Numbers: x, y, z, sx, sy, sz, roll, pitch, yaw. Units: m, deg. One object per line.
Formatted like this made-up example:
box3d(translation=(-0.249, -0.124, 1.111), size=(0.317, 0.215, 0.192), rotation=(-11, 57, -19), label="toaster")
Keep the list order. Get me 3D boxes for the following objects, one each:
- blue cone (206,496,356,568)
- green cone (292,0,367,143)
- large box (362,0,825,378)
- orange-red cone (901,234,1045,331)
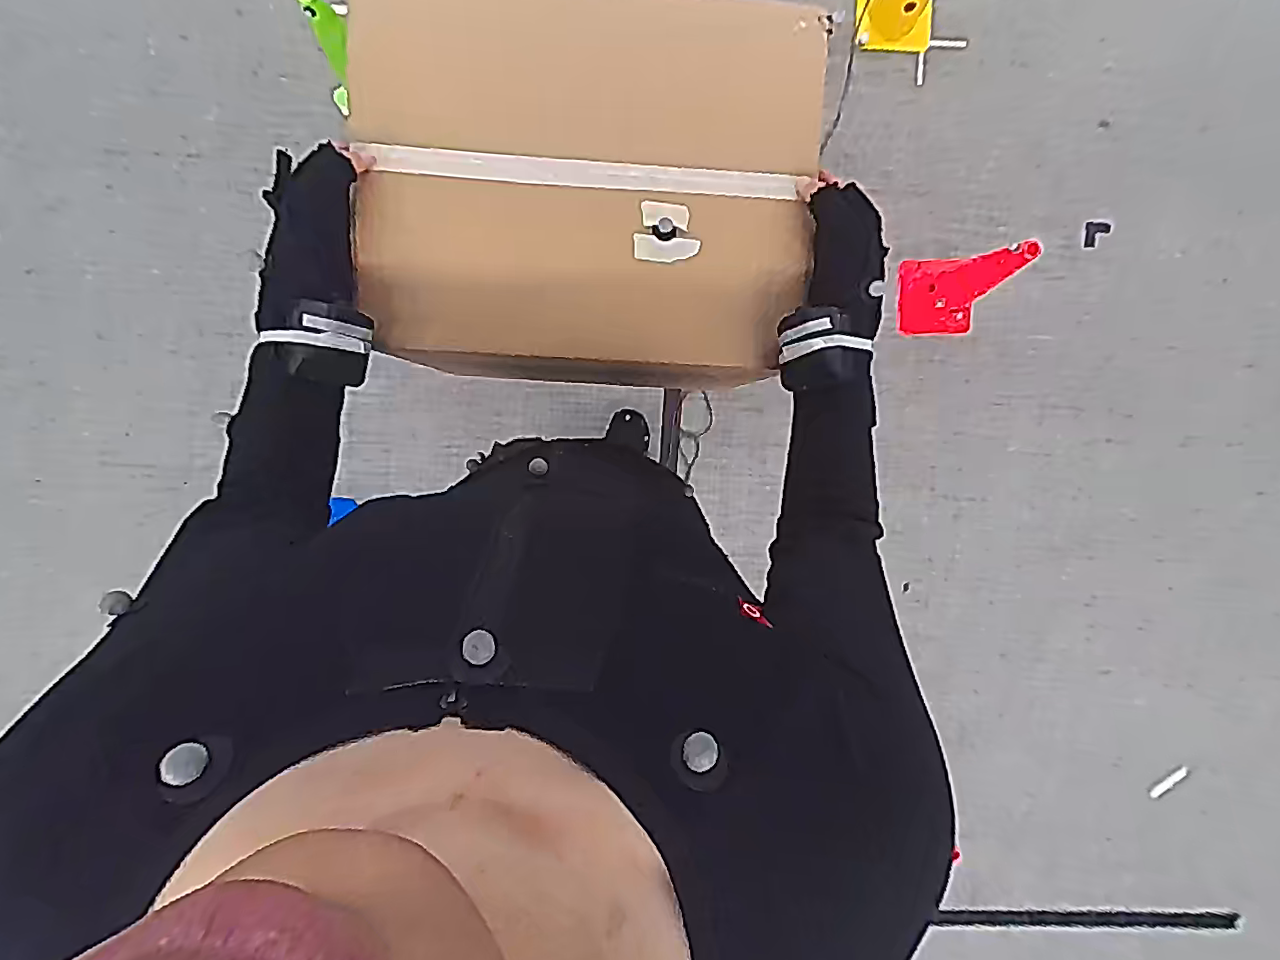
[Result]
box3d(translation=(-0.862, 0.149, 1.292), size=(0.192, 0.380, 0.193), rotation=(6, 93, -1), label="blue cone")
box3d(translation=(-0.657, -0.962, 1.219), size=(0.202, 0.368, 0.200), rotation=(-35, 93, 2), label="green cone")
box3d(translation=(-0.050, -0.291, 0.623), size=(0.408, 0.320, 0.320), rotation=(2, 96, -5), label="large box")
box3d(translation=(0.807, -0.497, 1.285), size=(0.198, 0.360, 0.199), rotation=(0, 92, -2), label="orange-red cone")
